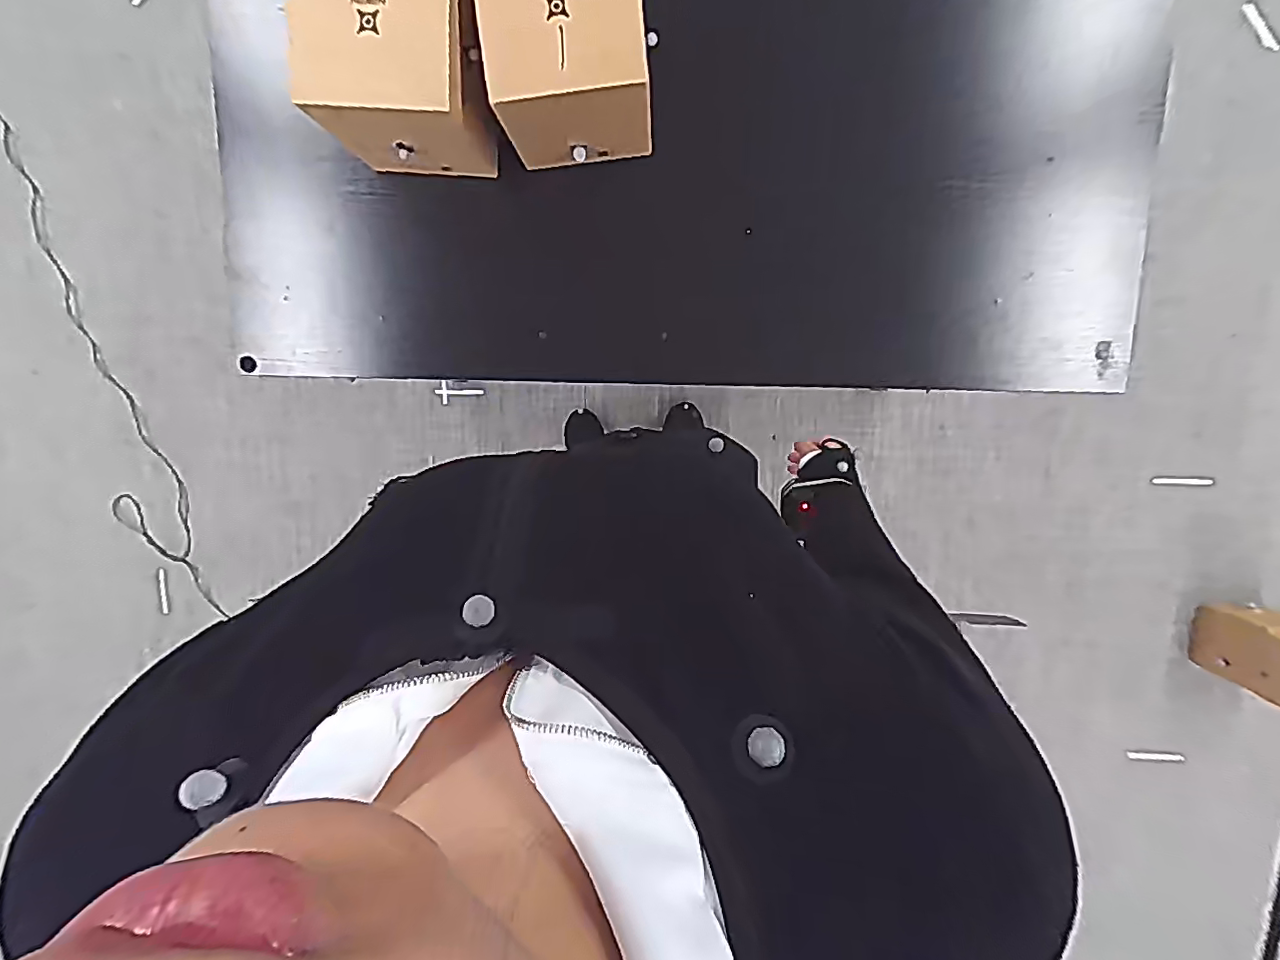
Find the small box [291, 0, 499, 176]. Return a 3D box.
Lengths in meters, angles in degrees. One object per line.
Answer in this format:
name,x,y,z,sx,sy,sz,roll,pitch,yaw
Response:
small box,-0.267,-0.475,0.623,0.168,0.176,0.179,4,98,1

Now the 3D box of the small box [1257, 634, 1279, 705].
small box,1.600,0.459,1.234,0.179,0.176,0.168,-1,98,2

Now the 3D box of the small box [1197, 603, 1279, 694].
small box,1.609,0.433,1.396,0.168,0.176,0.179,1,97,2
